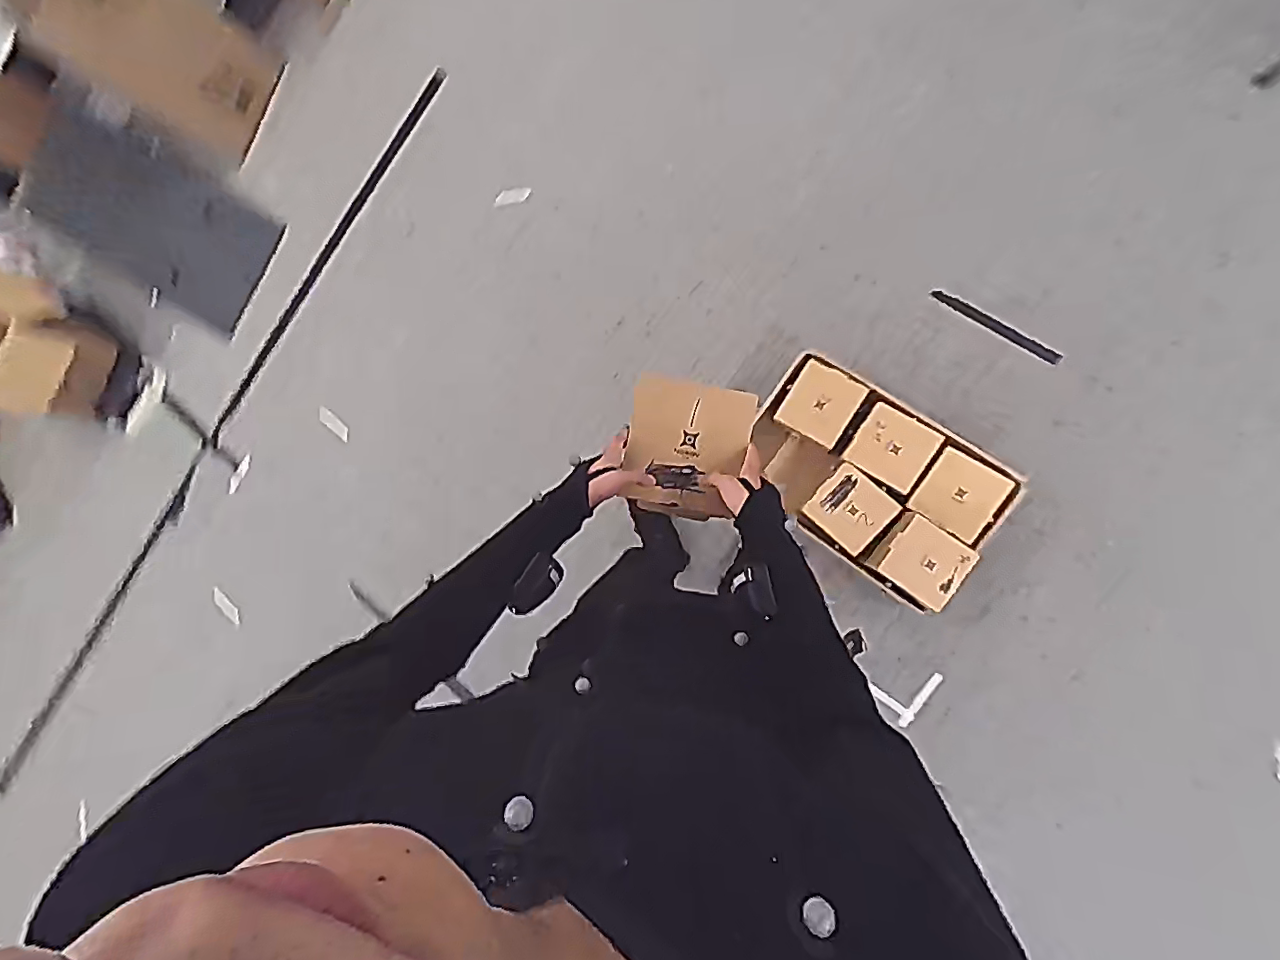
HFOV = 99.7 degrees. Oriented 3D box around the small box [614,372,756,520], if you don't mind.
[{"bbox_3d":[0.061,-0.052,0.816,0.168,0.176,0.179,11,94,-2],"label":"small box"}]
